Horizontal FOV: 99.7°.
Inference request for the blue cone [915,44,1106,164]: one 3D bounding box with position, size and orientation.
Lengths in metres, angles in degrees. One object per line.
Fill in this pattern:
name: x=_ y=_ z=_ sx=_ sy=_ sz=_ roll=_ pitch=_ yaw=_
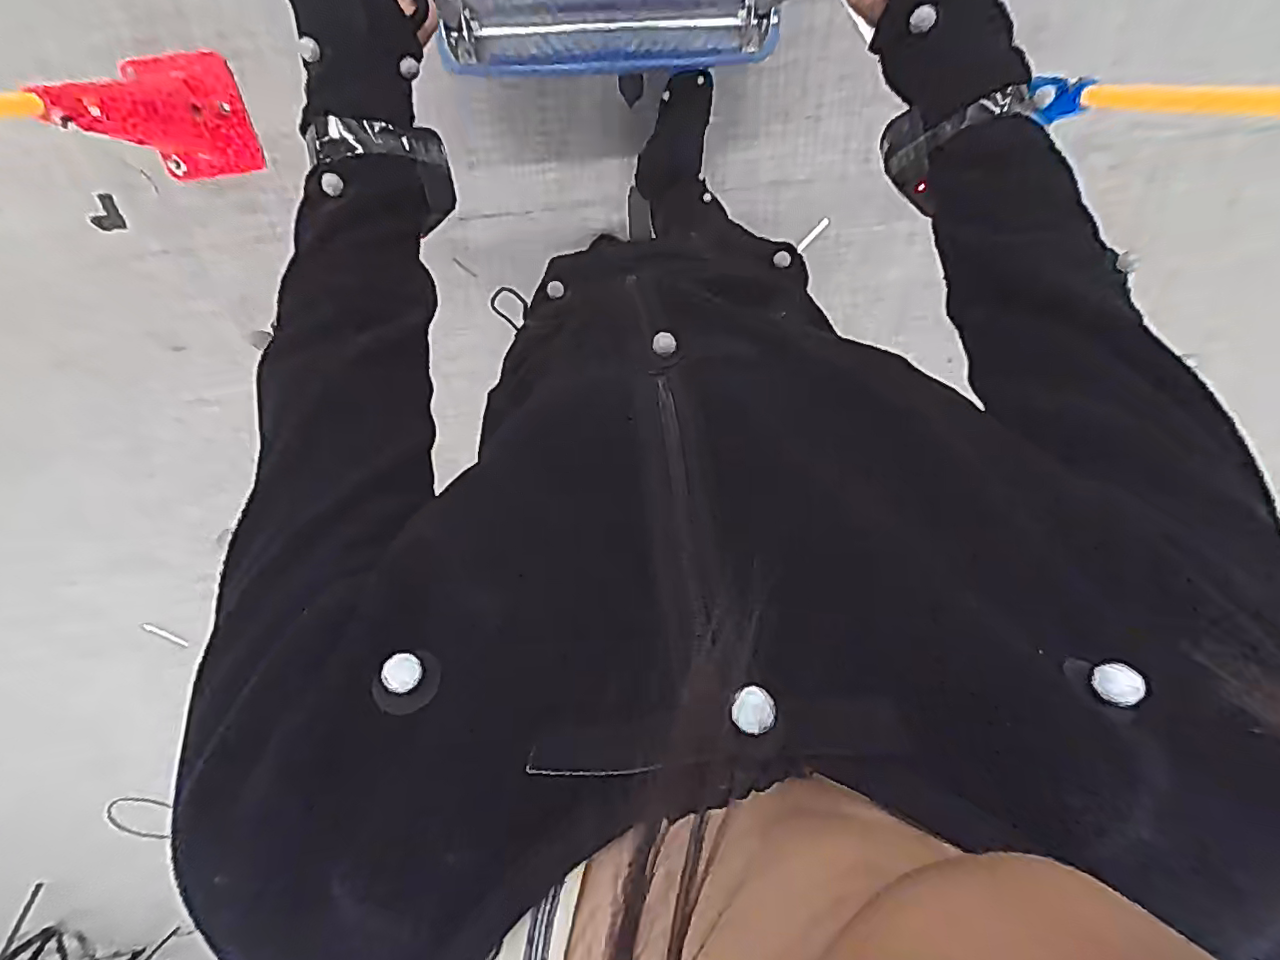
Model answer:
blue cone: x=0.679 y=-0.696 z=0.984 sx=0.193 sy=0.380 sz=0.192 roll=-10 pitch=120 yaw=1
